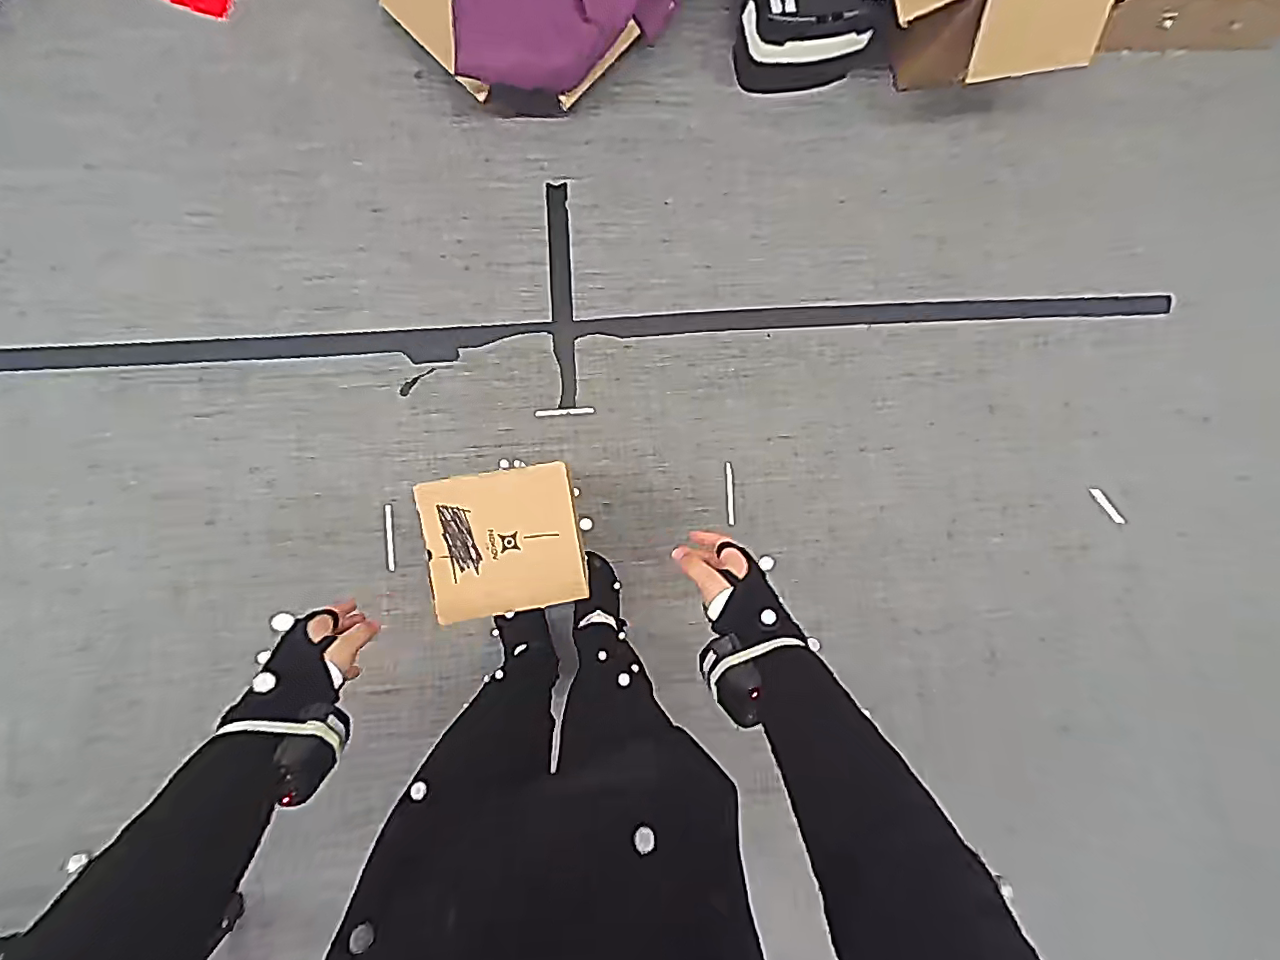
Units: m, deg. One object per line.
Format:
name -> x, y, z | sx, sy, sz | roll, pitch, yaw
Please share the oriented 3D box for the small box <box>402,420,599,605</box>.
small box -> -0.146, 0.032, 0.622 | 0.179, 0.176, 0.168 | -10, 92, -6
